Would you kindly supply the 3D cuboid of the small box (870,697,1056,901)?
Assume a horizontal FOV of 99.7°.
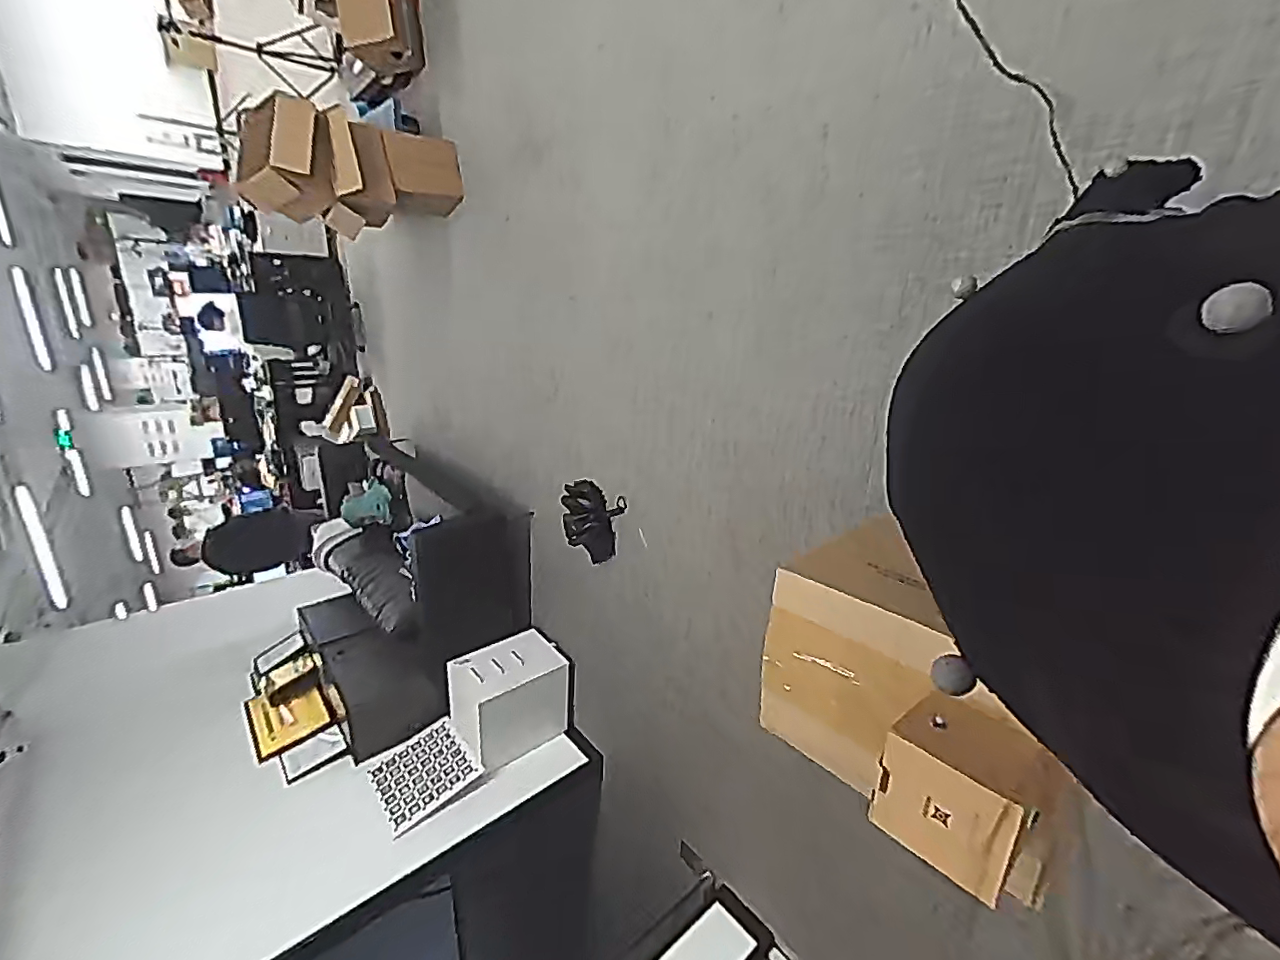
[{"bbox_3d":[0.476,0.450,0.802,0.179,0.176,0.168,19,111,45],"label":"small box"}]
